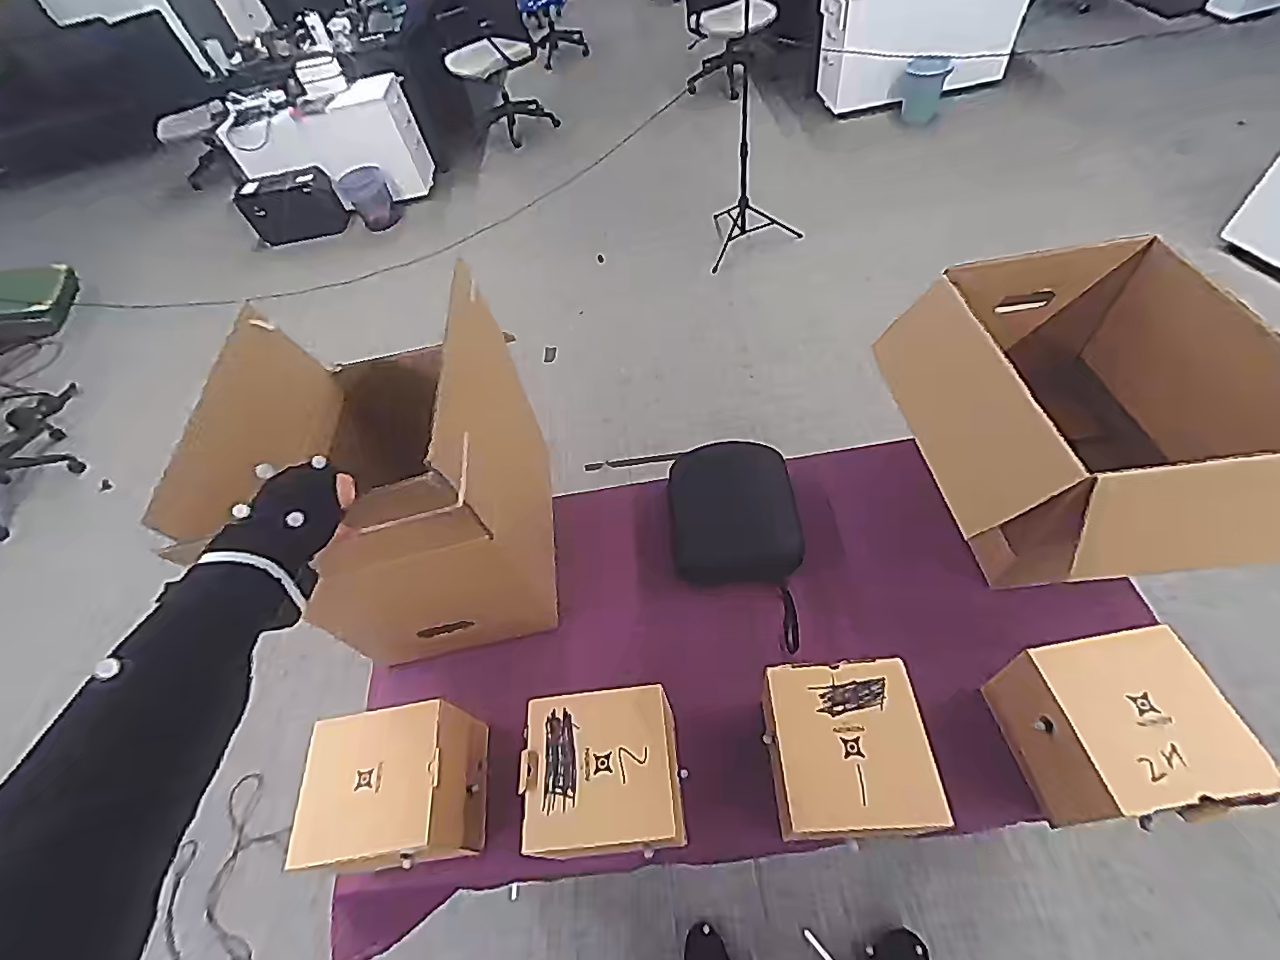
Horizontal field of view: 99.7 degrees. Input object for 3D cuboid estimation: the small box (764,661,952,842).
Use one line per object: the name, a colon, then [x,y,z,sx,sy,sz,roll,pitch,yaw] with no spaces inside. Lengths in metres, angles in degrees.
small box: [0.252,0.344,0.679,0.168,0.176,0.179,-6,54,6]

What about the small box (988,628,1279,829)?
small box: [0.562,0.301,0.649,0.168,0.176,0.179,-11,53,4]

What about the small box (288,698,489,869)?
small box: [-0.322,0.416,0.733,0.179,0.176,0.168,-11,53,1]
